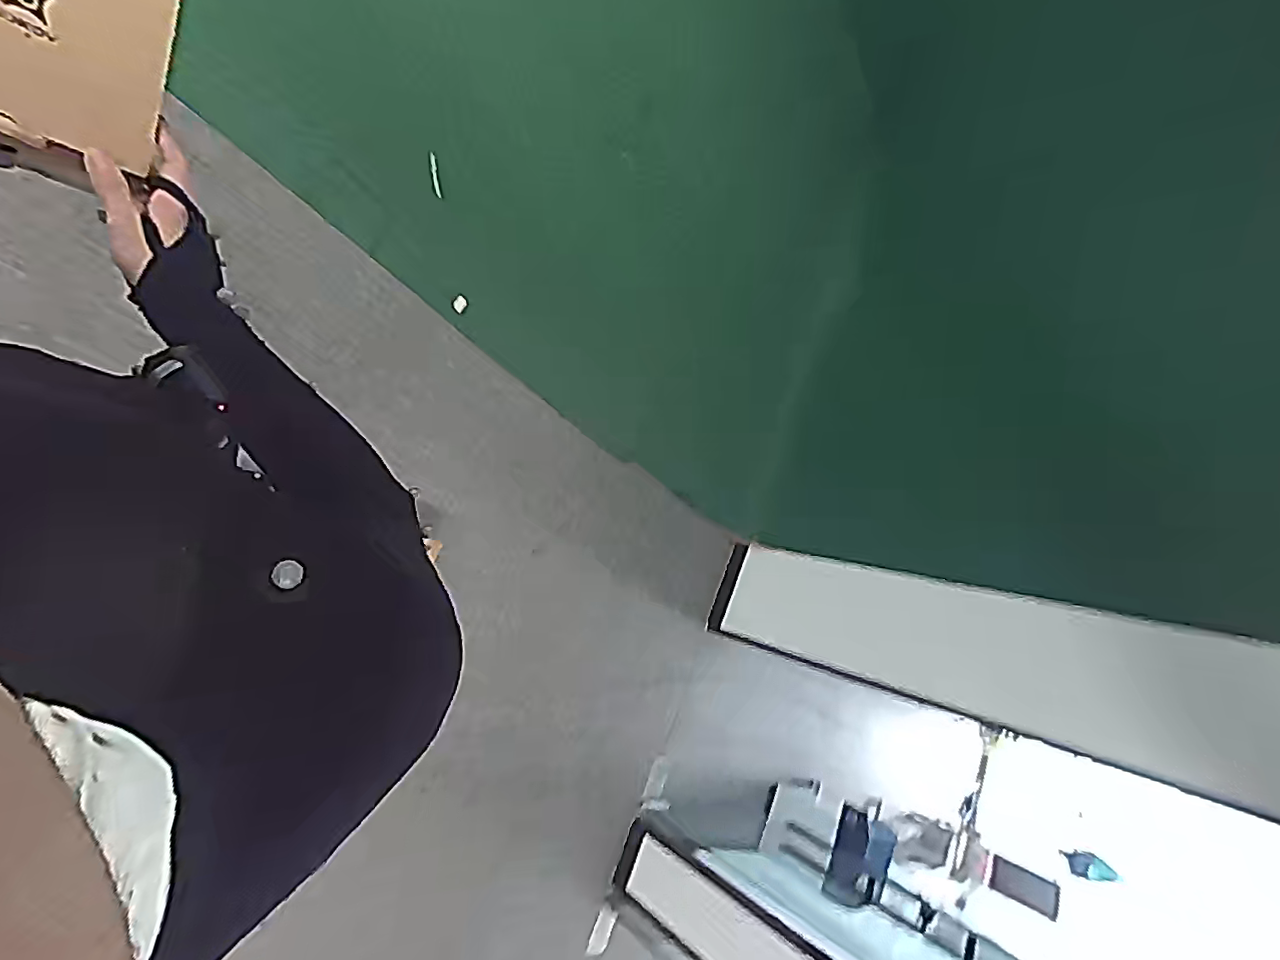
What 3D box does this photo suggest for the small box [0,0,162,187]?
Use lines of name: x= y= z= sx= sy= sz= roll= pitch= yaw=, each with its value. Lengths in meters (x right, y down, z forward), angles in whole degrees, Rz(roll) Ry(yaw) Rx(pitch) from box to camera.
small box: x=-0.528 y=-0.373 z=0.449 sx=0.168 sy=0.176 sz=0.179 roll=8 pitch=97 yaw=-50
